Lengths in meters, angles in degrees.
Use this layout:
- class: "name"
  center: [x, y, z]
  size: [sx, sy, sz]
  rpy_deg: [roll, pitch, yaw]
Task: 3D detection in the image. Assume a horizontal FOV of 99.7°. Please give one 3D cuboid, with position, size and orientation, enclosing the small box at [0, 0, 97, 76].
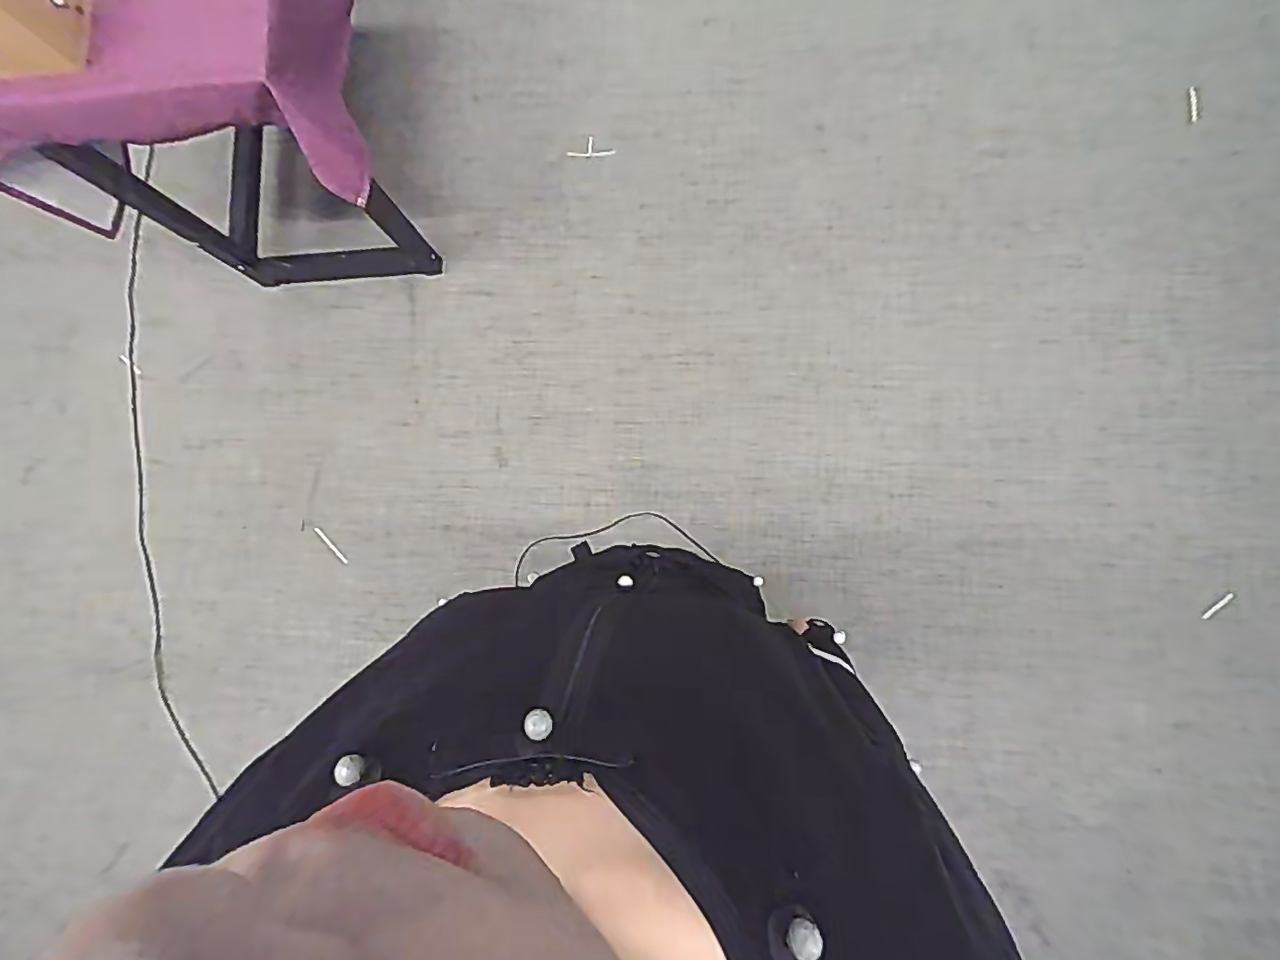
- class: "small box"
  center: [-1.055, -0.797, 0.876]
  size: [0.179, 0.176, 0.168]
  rpy_deg: [-2, 84, 3]
